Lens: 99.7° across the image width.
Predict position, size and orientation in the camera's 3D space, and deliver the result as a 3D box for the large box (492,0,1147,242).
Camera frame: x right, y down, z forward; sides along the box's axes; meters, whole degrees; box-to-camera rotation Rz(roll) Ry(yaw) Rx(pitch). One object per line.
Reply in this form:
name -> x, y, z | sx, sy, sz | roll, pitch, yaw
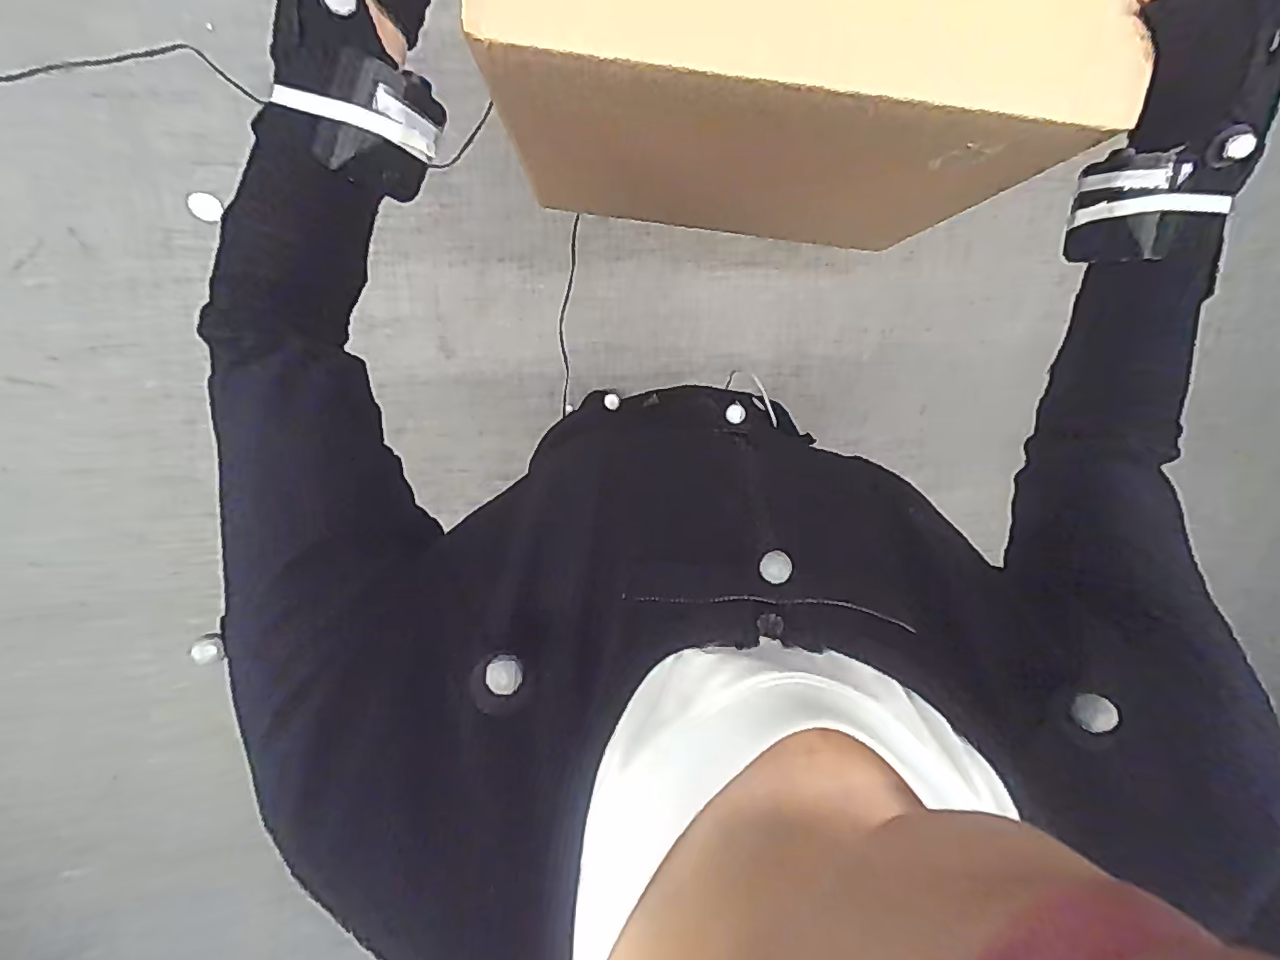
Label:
large box -> 0.109, -0.415, 0.451 | 0.408, 0.320, 0.320 | 4, 100, -5
